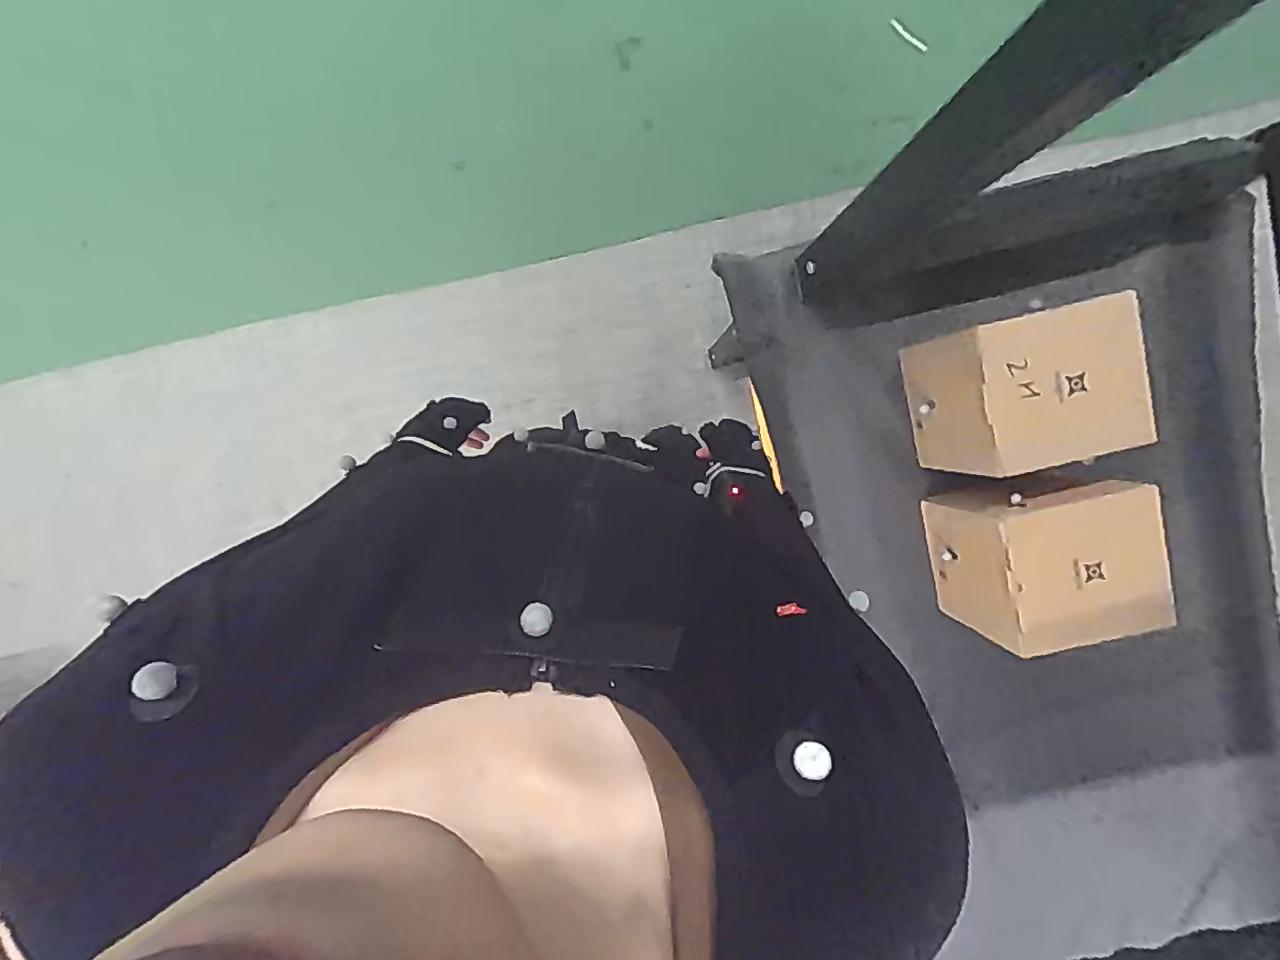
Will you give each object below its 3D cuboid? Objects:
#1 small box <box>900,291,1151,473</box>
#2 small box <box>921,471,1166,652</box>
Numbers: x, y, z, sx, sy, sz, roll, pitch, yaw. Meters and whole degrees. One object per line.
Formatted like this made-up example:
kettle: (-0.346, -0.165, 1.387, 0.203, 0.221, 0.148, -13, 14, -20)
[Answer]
small box: (0.453, -0.113, 0.659, 0.179, 0.176, 0.168, -14, 95, 0)
small box: (0.493, 0.090, 0.683, 0.179, 0.176, 0.168, -13, 96, 0)
